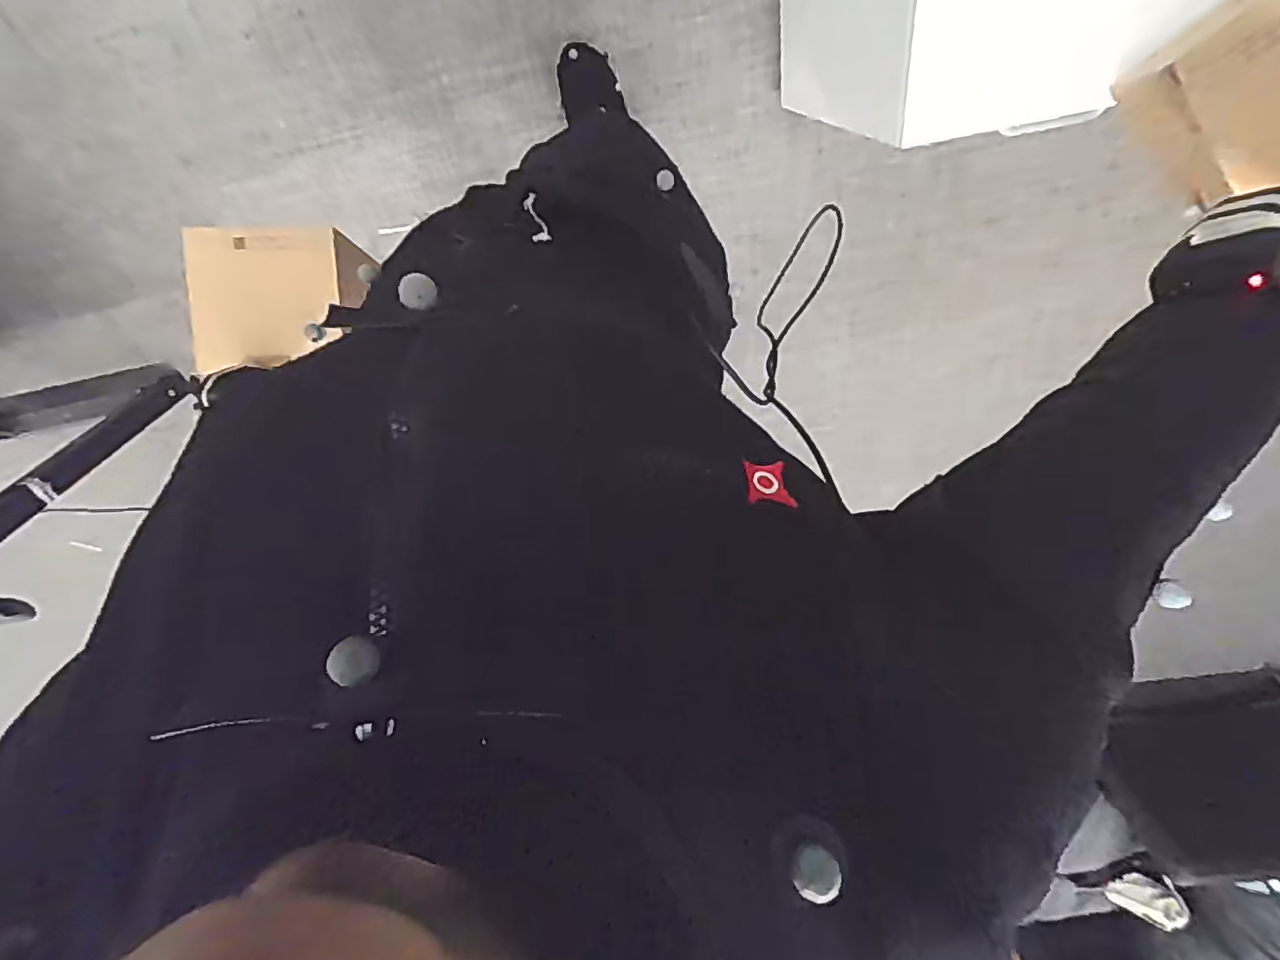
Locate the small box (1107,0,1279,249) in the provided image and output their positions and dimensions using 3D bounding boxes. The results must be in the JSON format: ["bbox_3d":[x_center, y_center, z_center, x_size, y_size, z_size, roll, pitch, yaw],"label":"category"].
[{"bbox_3d":[0.507,-0.314,0.415,0.168,0.179,0.176,-30,105,37],"label":"small box"}]
